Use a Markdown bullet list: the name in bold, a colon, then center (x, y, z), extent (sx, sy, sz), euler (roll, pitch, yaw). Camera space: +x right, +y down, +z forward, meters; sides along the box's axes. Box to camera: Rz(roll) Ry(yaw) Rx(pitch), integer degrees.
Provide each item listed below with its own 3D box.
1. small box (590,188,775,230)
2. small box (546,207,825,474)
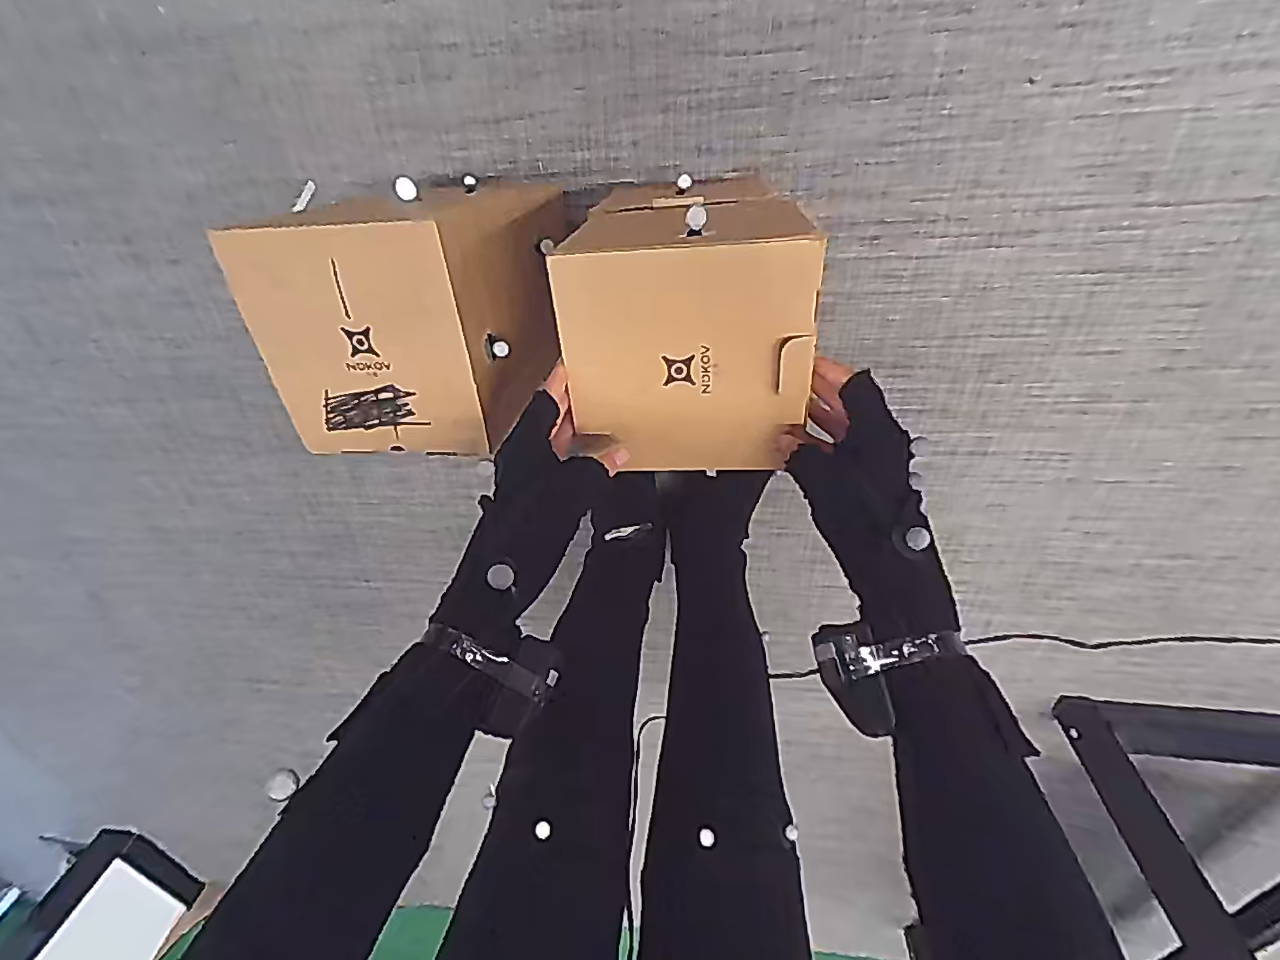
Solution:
- **small box**: center (0.048, -0.208, 0.580), extent (0.168, 0.176, 0.179), euler (0, 124, 8)
- **small box**: center (0.039, -0.118, 0.441), extent (0.179, 0.176, 0.168), euler (-1, 123, 7)
